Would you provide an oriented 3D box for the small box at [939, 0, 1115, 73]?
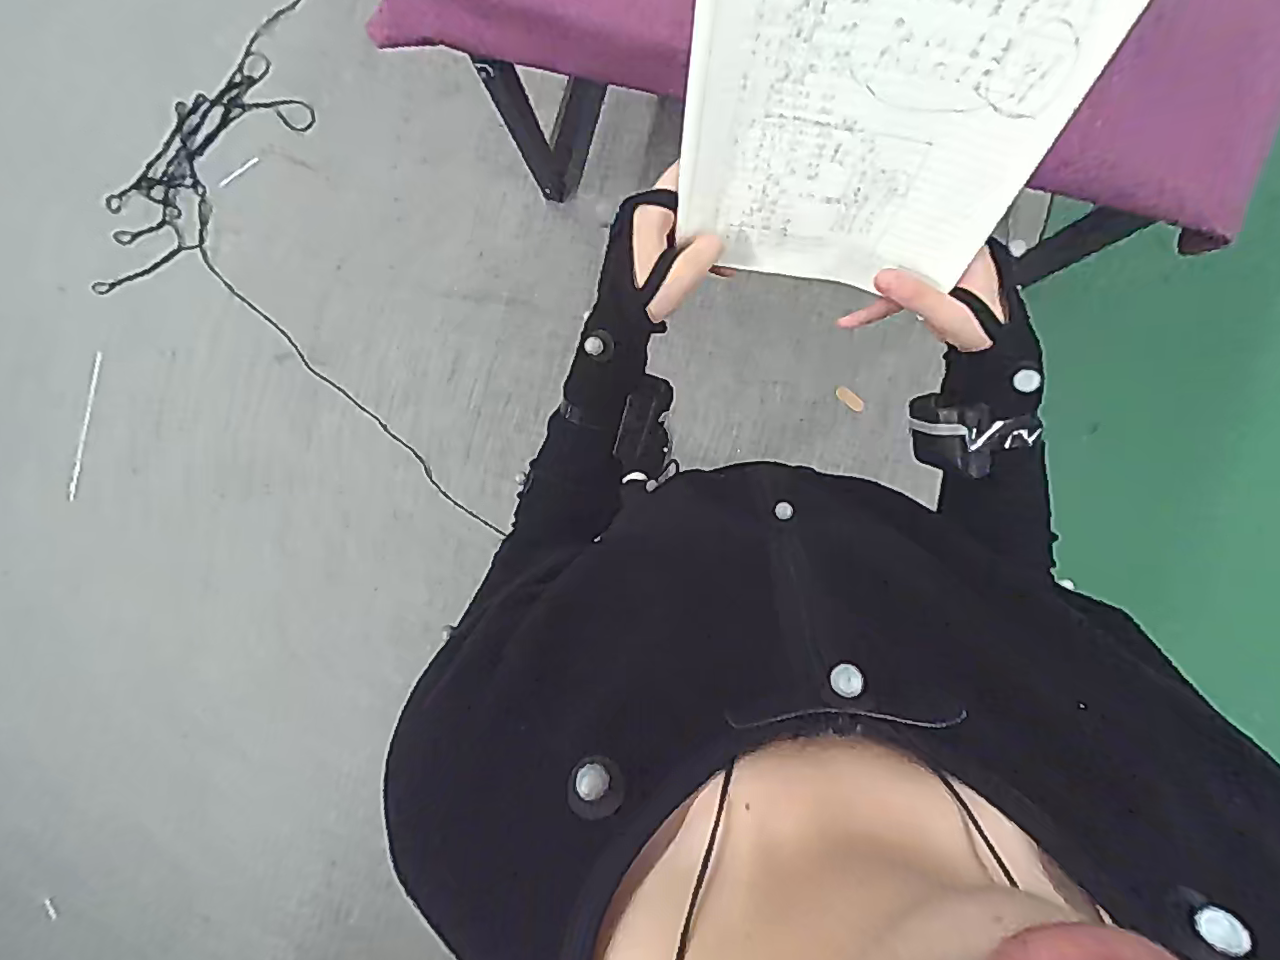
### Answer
[{"bbox_3d":[0.493,-0.643,0.646,0.168,0.176,0.179,18,92,3],"label":"small box"}]
